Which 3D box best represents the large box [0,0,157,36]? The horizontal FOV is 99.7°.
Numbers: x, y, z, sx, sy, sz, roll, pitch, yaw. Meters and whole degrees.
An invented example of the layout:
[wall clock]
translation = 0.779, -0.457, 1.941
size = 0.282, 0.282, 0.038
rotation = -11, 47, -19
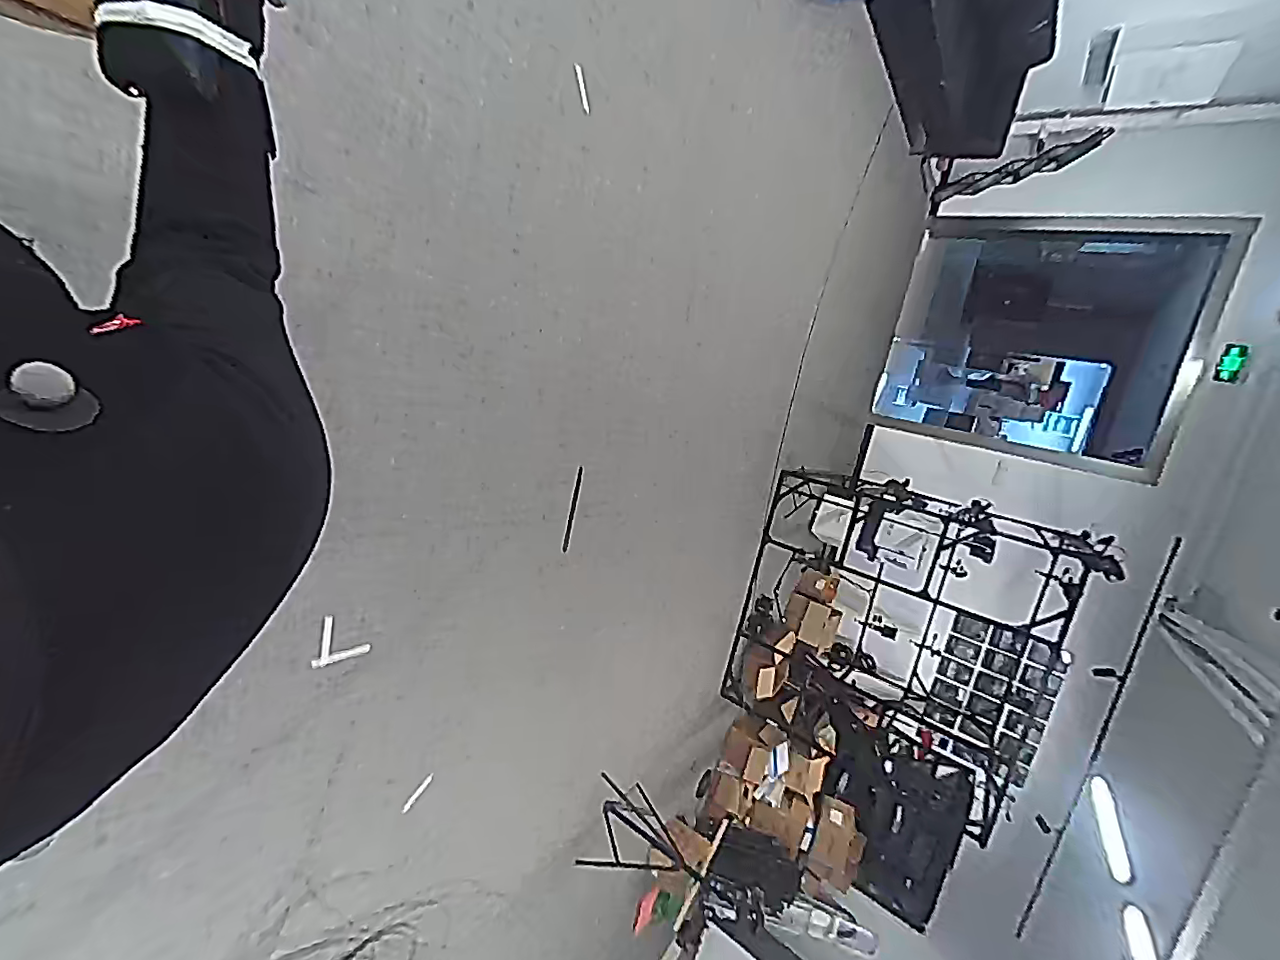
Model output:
[large box]
translation = -0.528, -0.490, 0.240
size = 0.408, 0.320, 0.320
rotation = -12, 128, -56
